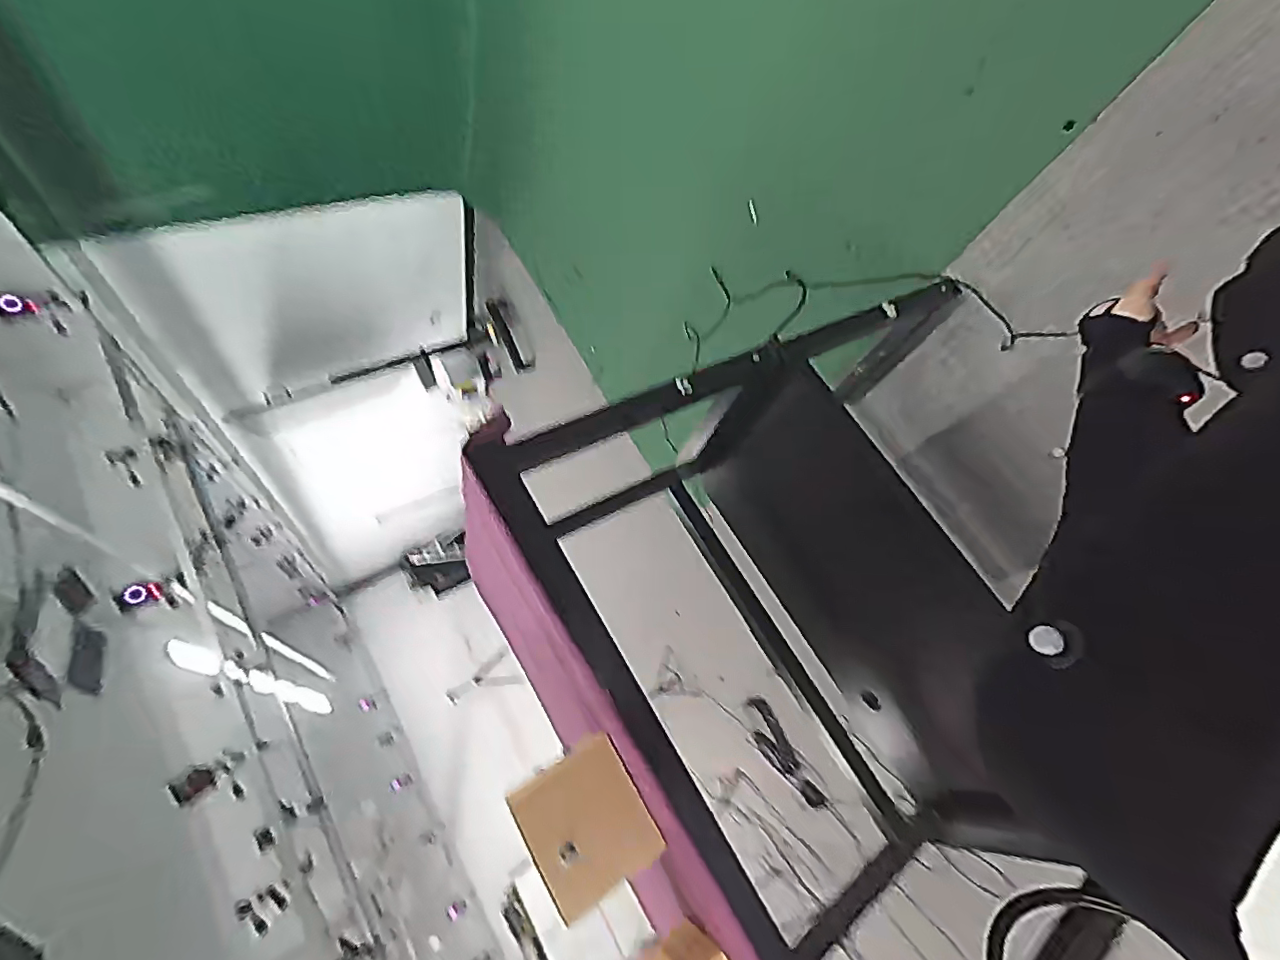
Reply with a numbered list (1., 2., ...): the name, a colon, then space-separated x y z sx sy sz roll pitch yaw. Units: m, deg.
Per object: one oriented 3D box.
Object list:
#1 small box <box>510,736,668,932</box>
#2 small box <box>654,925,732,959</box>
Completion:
1. small box: -0.082 0.523 0.829 0.179 0.176 0.168 57 153 15
2. small box: 0.079 0.775 0.752 0.168 0.176 0.179 57 154 16
